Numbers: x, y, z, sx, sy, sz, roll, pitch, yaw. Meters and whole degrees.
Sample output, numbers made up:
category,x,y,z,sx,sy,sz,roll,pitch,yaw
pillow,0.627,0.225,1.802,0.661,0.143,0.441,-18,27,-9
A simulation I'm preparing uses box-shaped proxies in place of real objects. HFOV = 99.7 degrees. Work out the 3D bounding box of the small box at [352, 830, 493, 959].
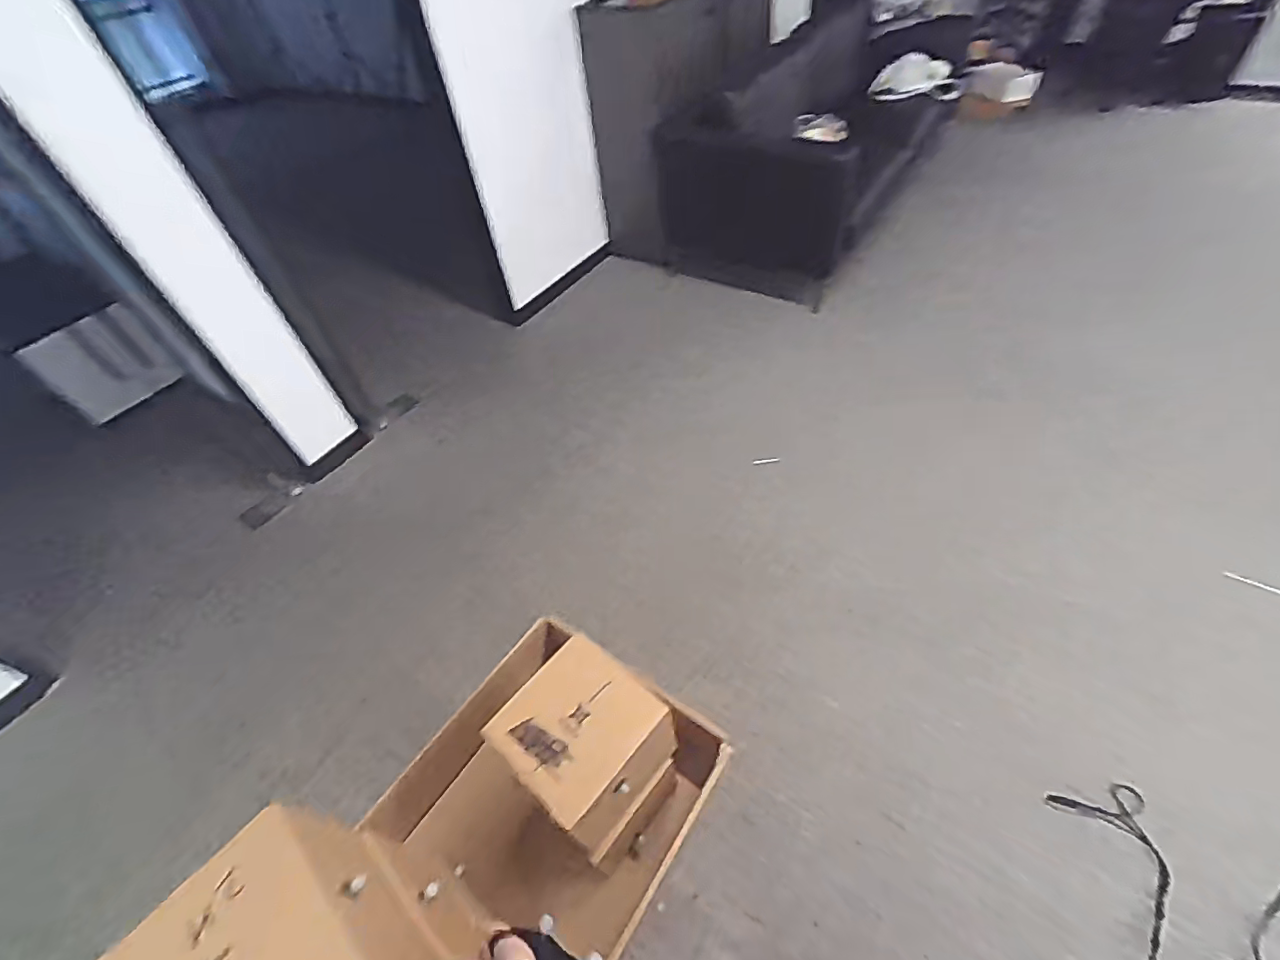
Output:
category,x,y,z,sx,sy,sz,roll,pitch,yaw
small box,-0.293,0.534,0.592,0.179,0.176,0.168,30,59,29

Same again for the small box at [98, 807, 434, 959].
category,x,y,z,sx,sy,sz,roll,pitch,yaw
small box,-0.311,0.429,0.466,0.179,0.176,0.168,31,59,30

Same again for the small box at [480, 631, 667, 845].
category,x,y,z,sx,sy,sz,roll,pitch,yaw
small box,-0.075,0.348,0.727,0.168,0.176,0.179,31,59,30
